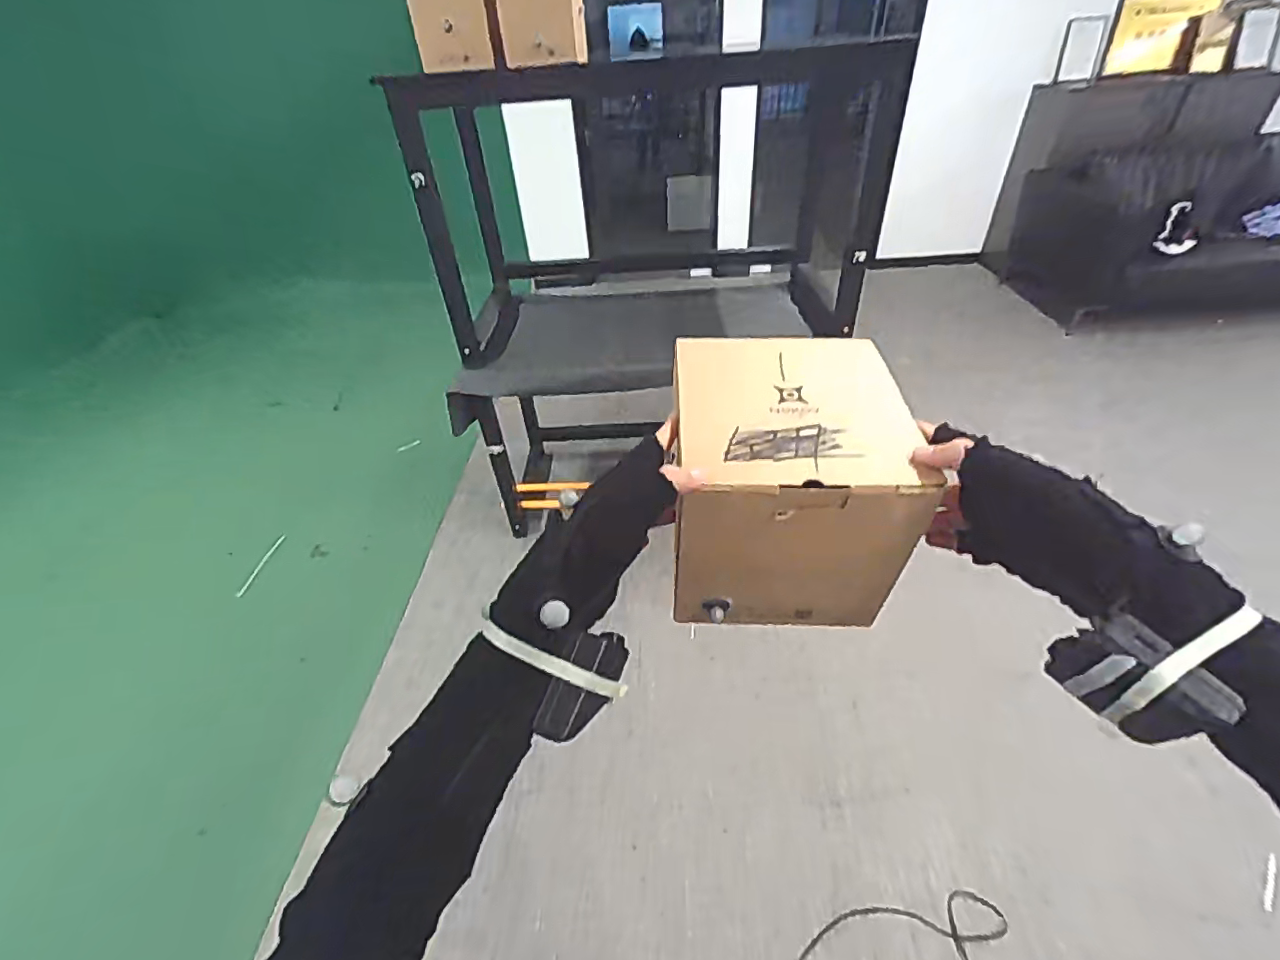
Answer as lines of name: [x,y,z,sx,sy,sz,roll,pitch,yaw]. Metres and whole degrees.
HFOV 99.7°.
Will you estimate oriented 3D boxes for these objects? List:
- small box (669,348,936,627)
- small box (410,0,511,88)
small box: [0.110,0.008,0.454,0.168,0.176,0.179,1,44,2]
small box: [-0.412,-1.037,1.279,0.168,0.176,0.179,-2,38,2]
